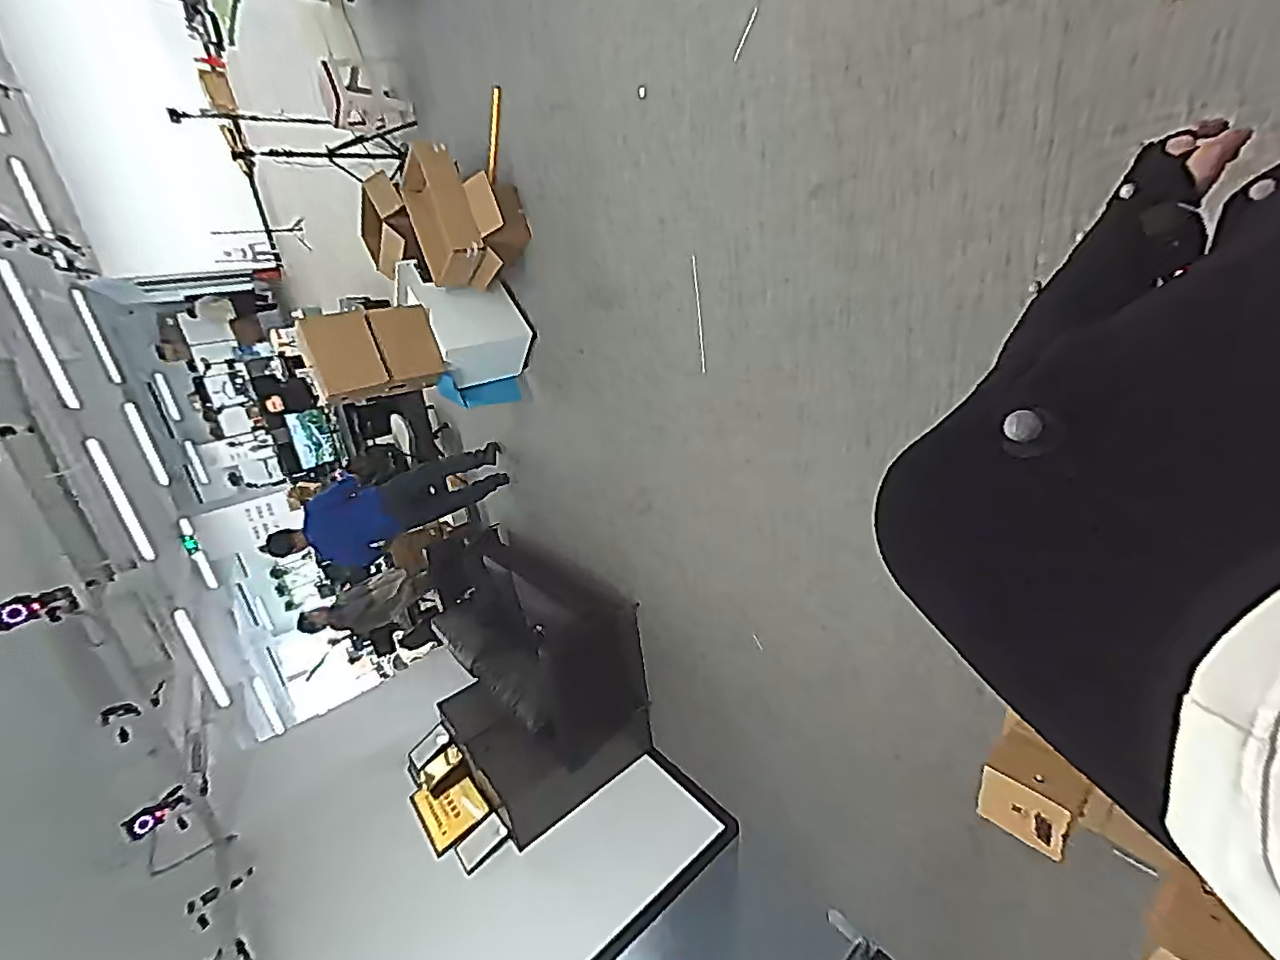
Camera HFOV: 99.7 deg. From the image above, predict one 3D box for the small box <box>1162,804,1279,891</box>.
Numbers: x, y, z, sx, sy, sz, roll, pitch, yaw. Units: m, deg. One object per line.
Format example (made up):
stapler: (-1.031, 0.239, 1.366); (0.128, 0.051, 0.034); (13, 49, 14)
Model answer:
small box: (1.445, 0.938, 1.325); (0.179, 0.176, 0.168); (28, 130, 44)

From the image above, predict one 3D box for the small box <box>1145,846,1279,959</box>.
small box: (1.315, 0.983, 1.232); (0.179, 0.176, 0.168); (28, 130, 44)

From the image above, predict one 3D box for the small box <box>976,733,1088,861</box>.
small box: (0.957, 0.759, 1.319); (0.179, 0.176, 0.168); (18, 121, 48)

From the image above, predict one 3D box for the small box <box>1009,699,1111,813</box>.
small box: (1.083, 0.705, 1.409); (0.179, 0.176, 0.168); (17, 121, 47)
